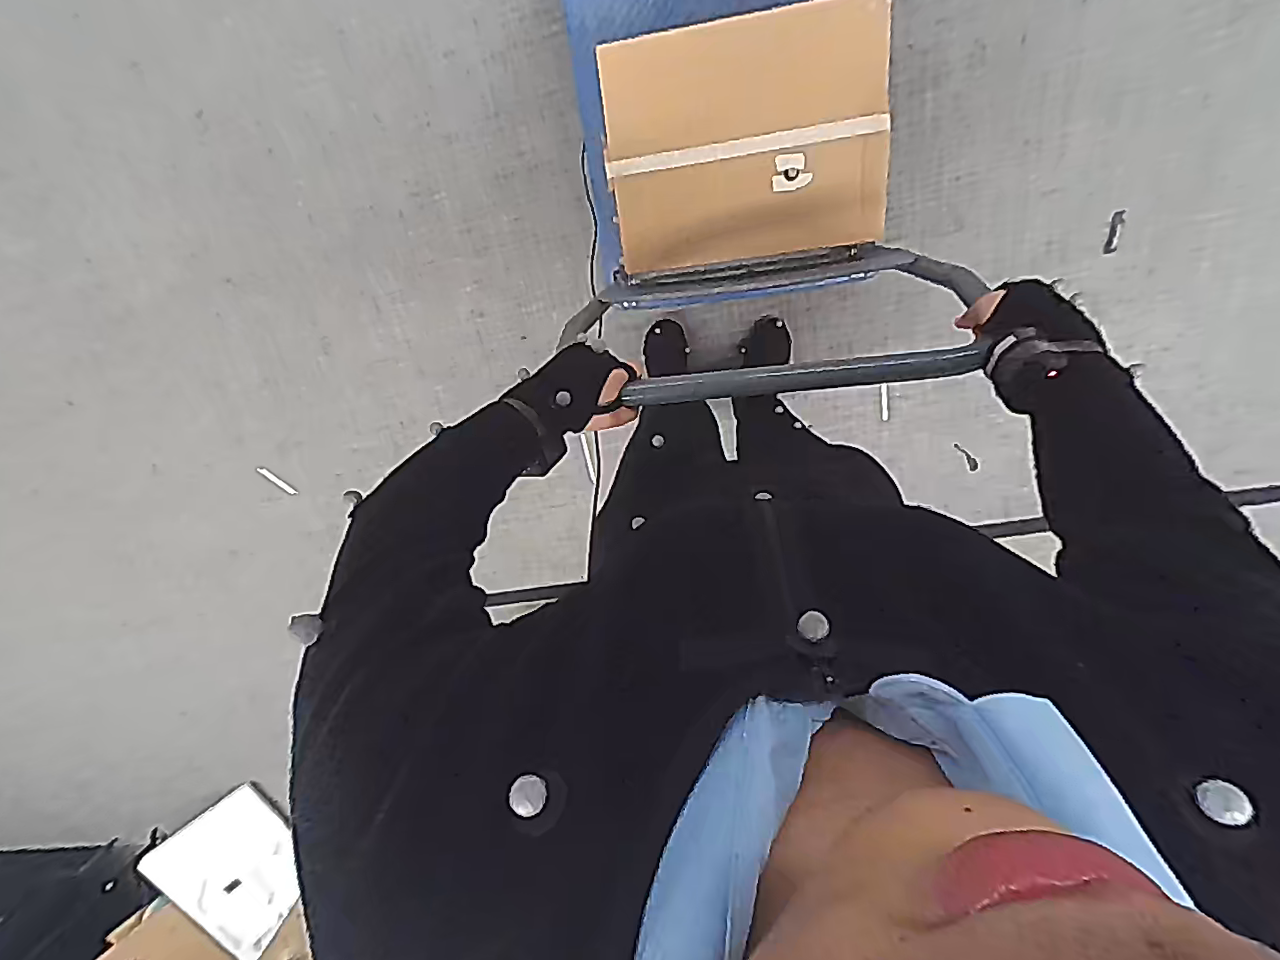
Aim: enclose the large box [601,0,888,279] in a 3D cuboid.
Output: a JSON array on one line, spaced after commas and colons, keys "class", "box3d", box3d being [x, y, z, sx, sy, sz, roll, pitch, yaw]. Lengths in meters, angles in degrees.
[{"class": "large box", "box3d": [0.172, -0.551, 0.946, 0.408, 0.320, 0.320, -4, 114, 9]}]
